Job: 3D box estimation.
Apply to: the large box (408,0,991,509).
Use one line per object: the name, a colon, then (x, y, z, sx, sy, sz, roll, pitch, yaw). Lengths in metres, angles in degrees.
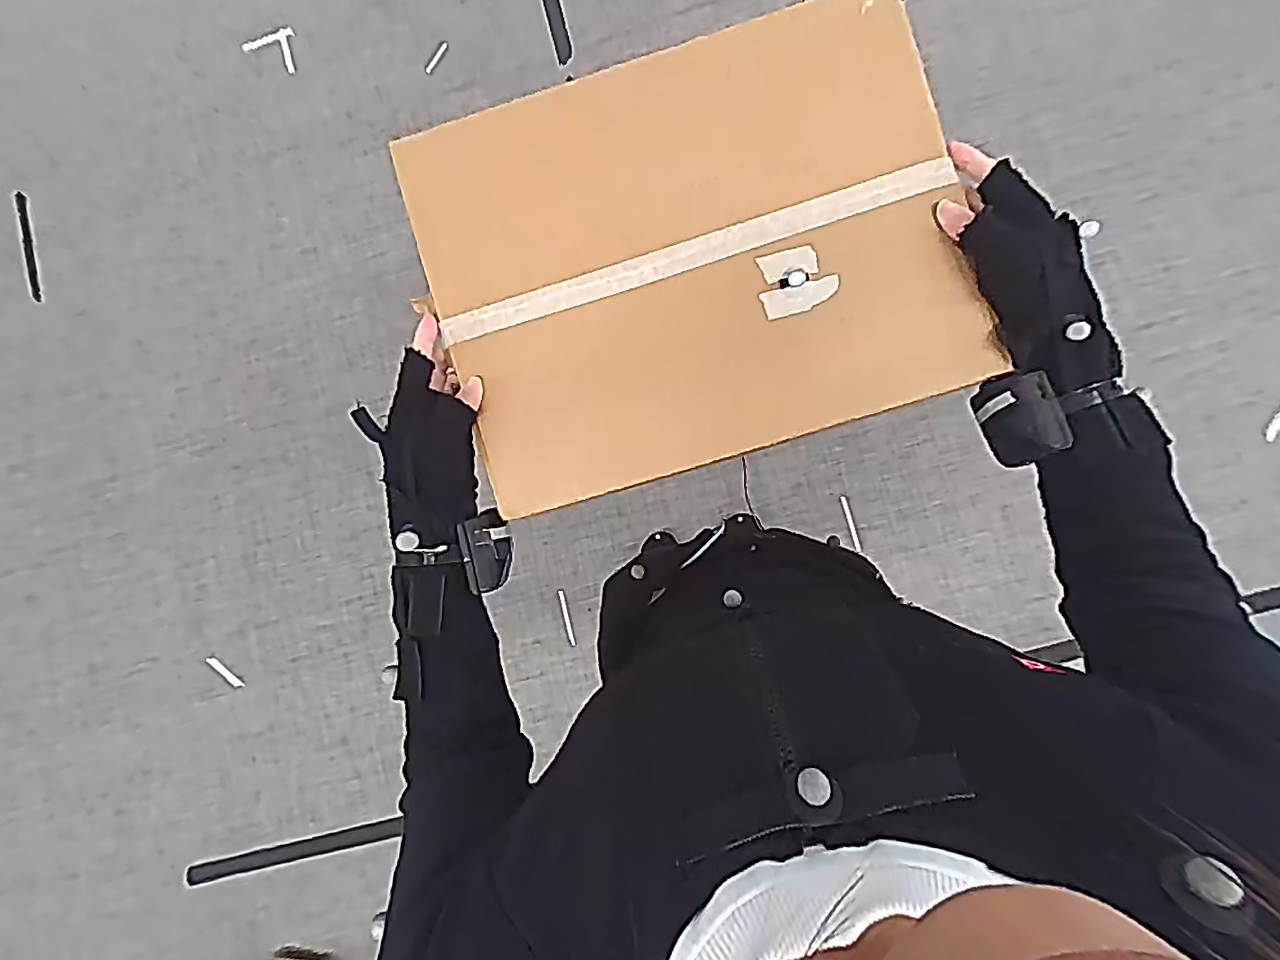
large box: (0.047, -0.179, 0.577, 0.408, 0.320, 0.320, -17, 91, 2)
